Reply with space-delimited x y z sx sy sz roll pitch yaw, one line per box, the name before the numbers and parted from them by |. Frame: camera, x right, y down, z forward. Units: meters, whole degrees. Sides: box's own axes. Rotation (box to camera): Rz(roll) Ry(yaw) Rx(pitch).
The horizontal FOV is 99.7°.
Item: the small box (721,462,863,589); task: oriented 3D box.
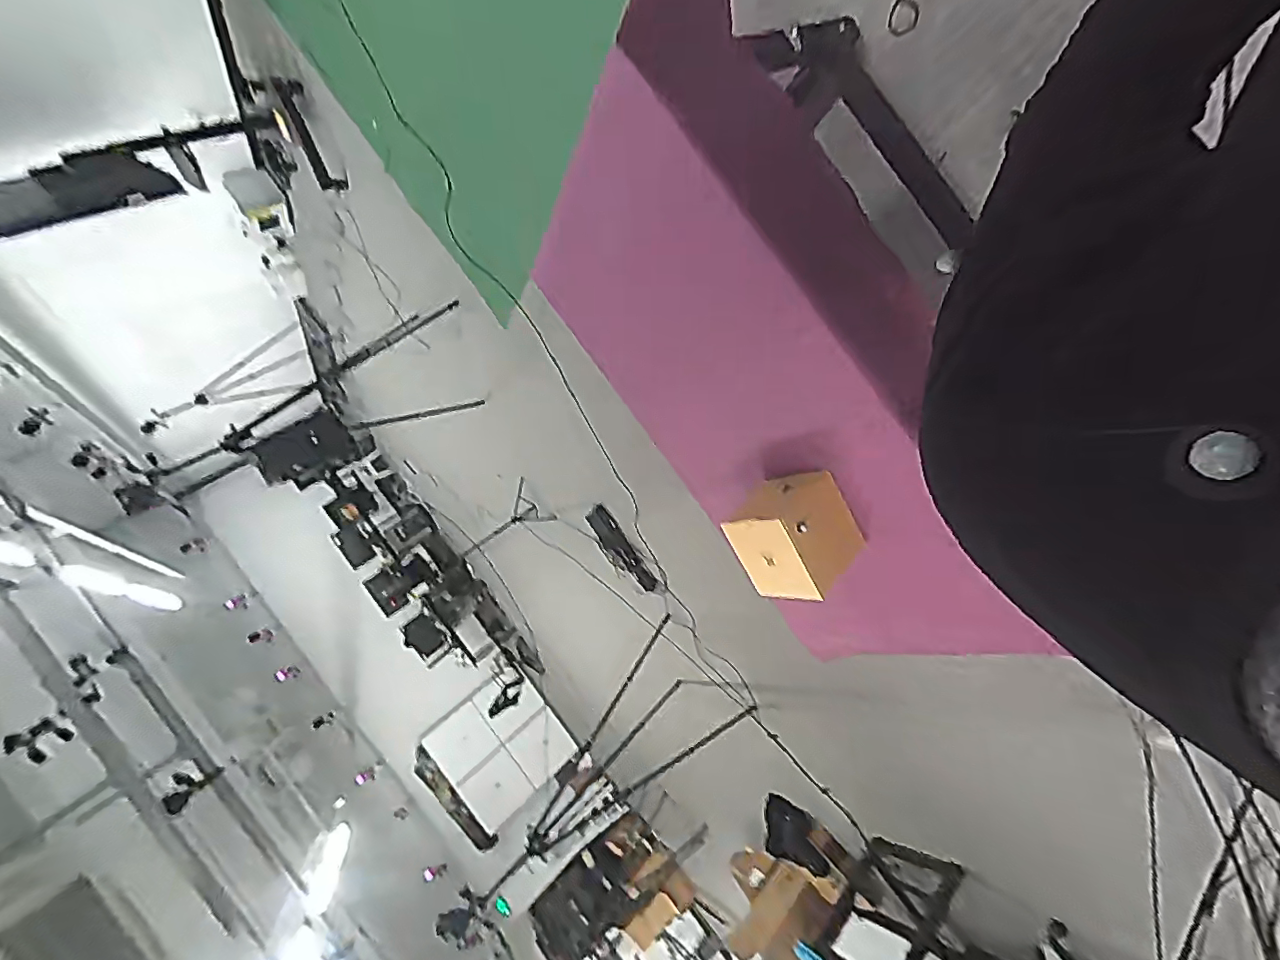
small box | 0.299 0.088 1.054 0.168 0.176 0.179 -14 109 58
